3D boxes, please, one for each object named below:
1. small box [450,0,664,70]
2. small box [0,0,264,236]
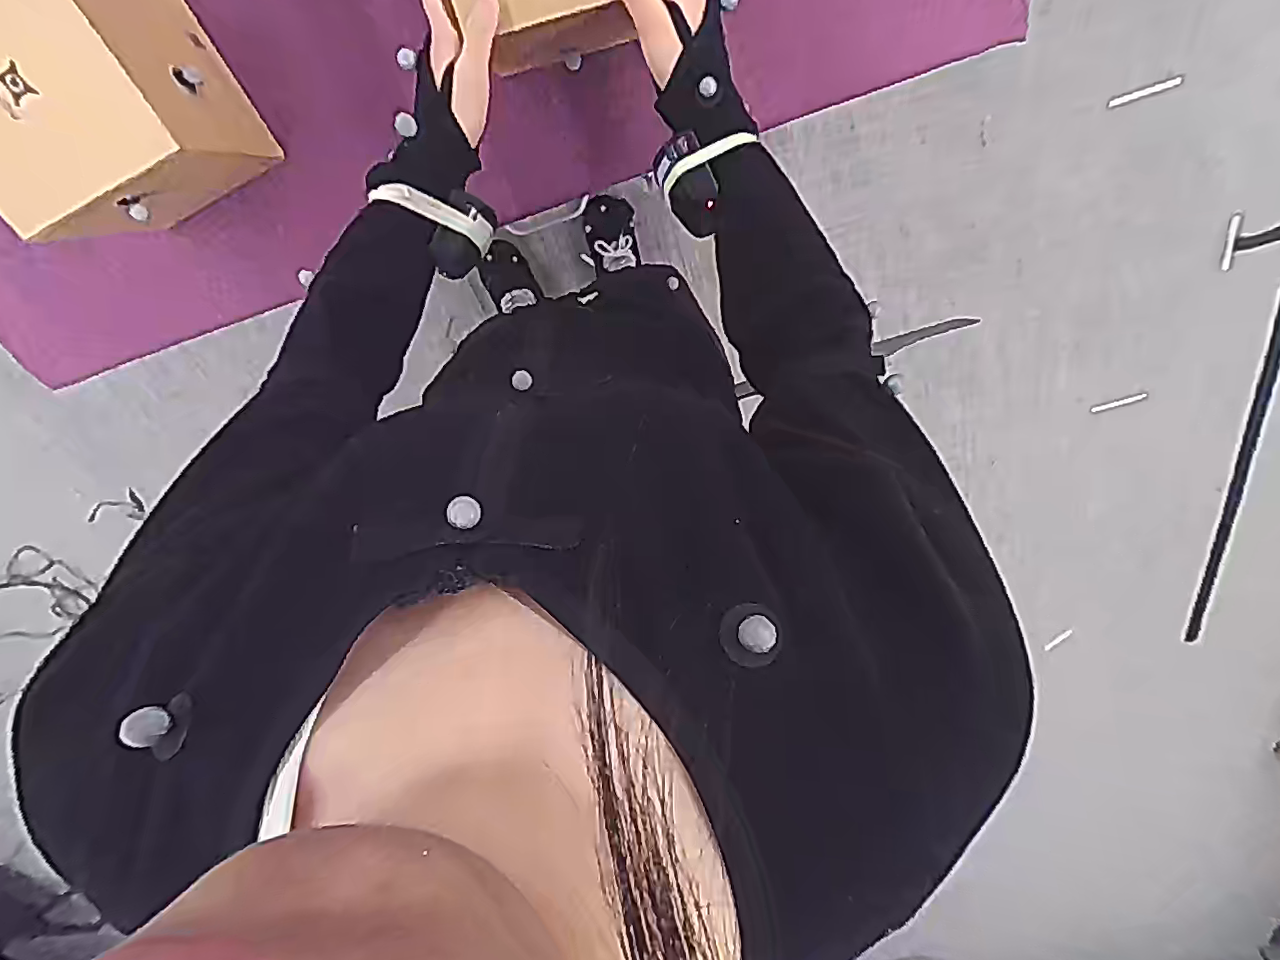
[{"bbox_3d":[-0.079,-0.464,0.433,0.168,0.176,0.179,-12,121,4],"label":"small box"},{"bbox_3d":[-0.483,-0.343,0.481,0.179,0.176,0.168,-22,119,9],"label":"small box"}]
